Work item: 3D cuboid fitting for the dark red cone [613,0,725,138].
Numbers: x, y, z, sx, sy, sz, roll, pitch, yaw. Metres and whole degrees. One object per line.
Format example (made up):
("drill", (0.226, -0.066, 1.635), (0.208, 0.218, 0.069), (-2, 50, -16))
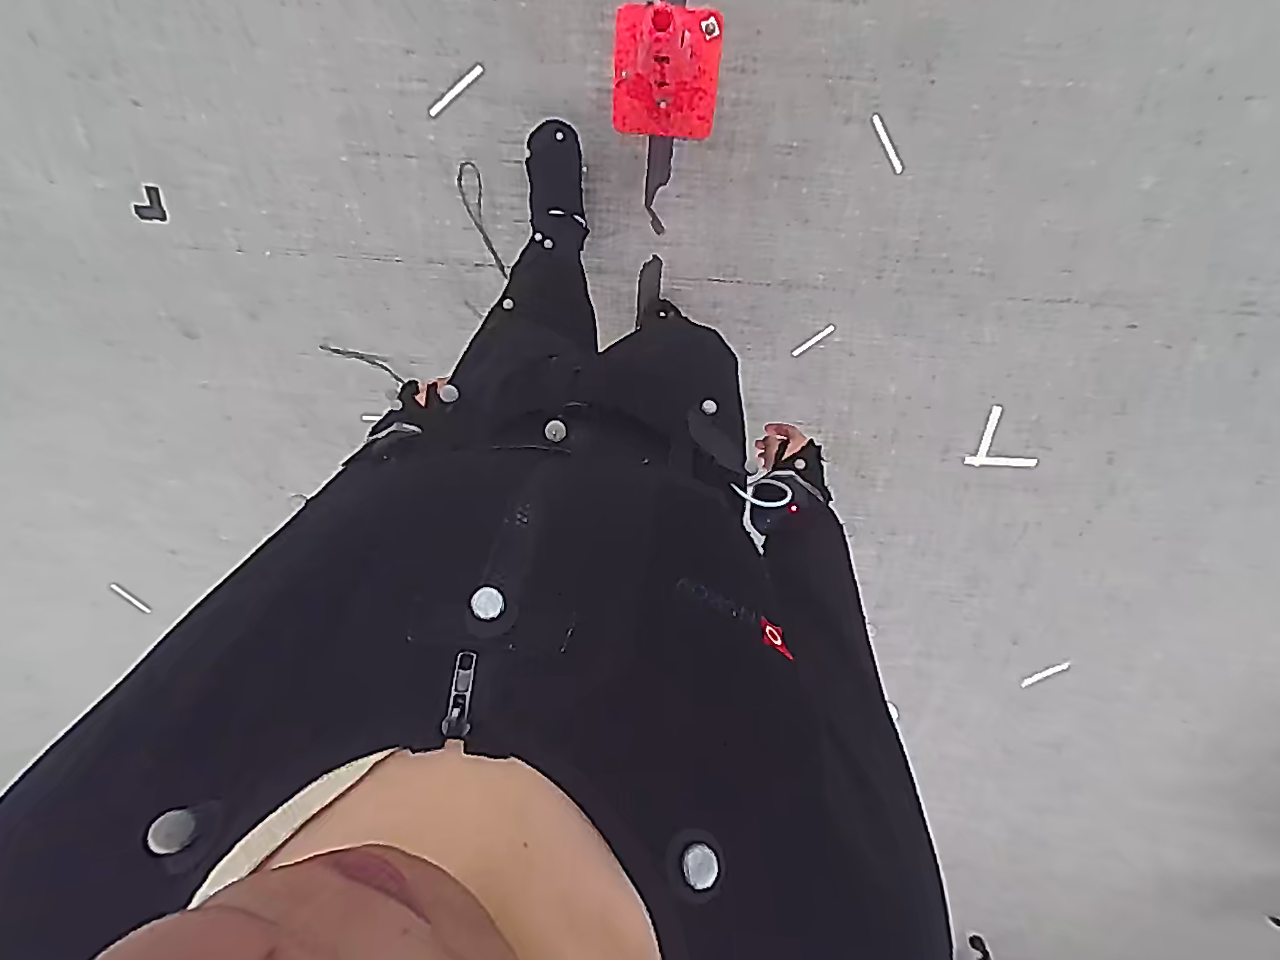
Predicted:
("dark red cone", (0.038, -0.681, 0.858), (0.201, 0.394, 0.202), (5, 118, 3))
